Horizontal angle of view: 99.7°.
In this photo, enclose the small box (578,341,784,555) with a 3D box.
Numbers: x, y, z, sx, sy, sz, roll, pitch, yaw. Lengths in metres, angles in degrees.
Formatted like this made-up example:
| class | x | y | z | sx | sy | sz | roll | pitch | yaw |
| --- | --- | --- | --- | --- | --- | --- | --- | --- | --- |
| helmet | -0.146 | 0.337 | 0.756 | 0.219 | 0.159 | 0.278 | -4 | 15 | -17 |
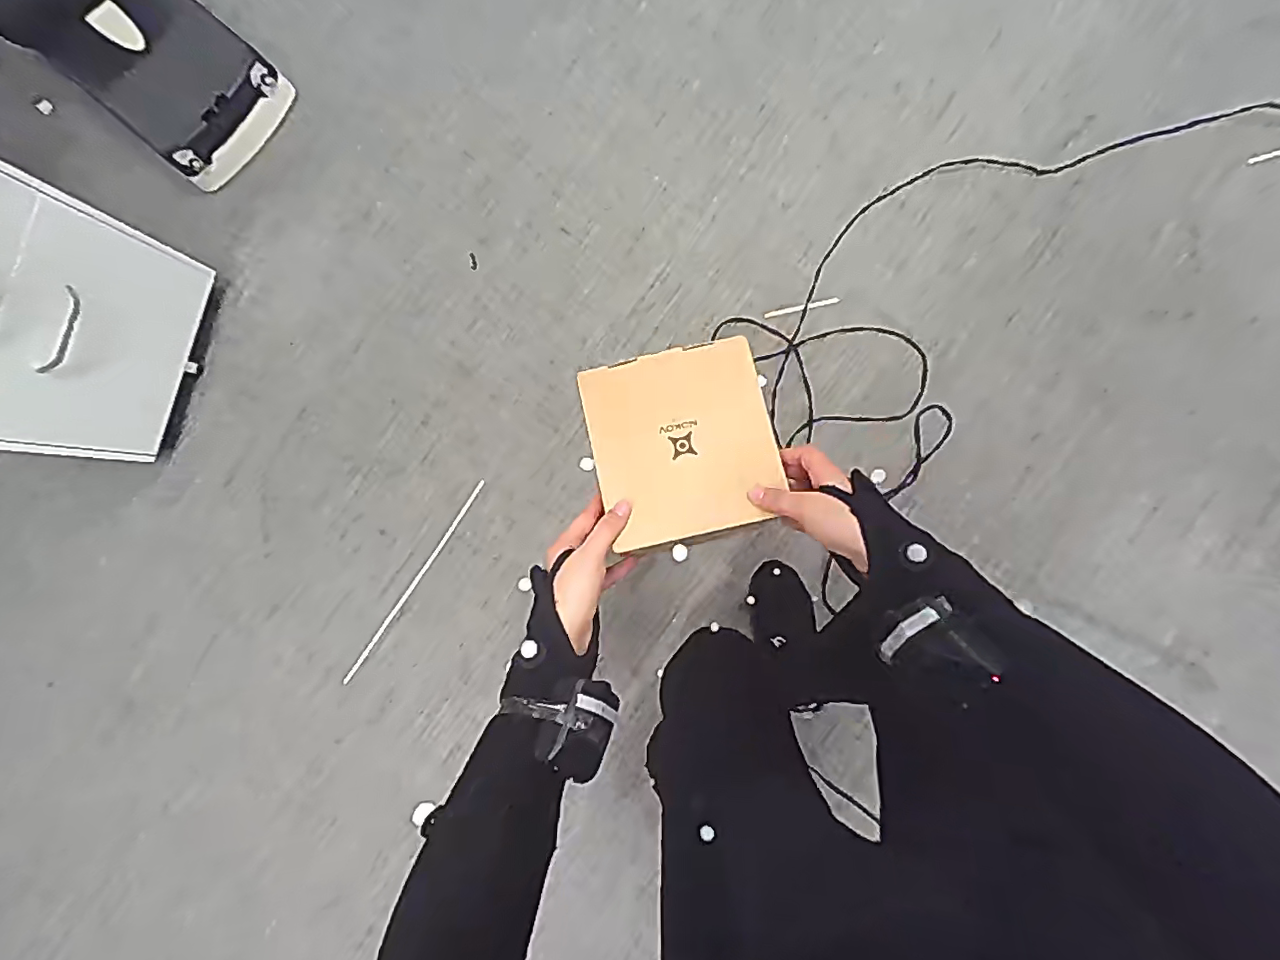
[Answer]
| class | x | y | z | sx | sy | sz | roll | pitch | yaw |
| --- | --- | --- | --- | --- | --- | --- | --- | --- | --- |
| small box | 0.041 | -0.020 | 0.585 | 0.168 | 0.176 | 0.179 | -13 | 77 | 0 |
